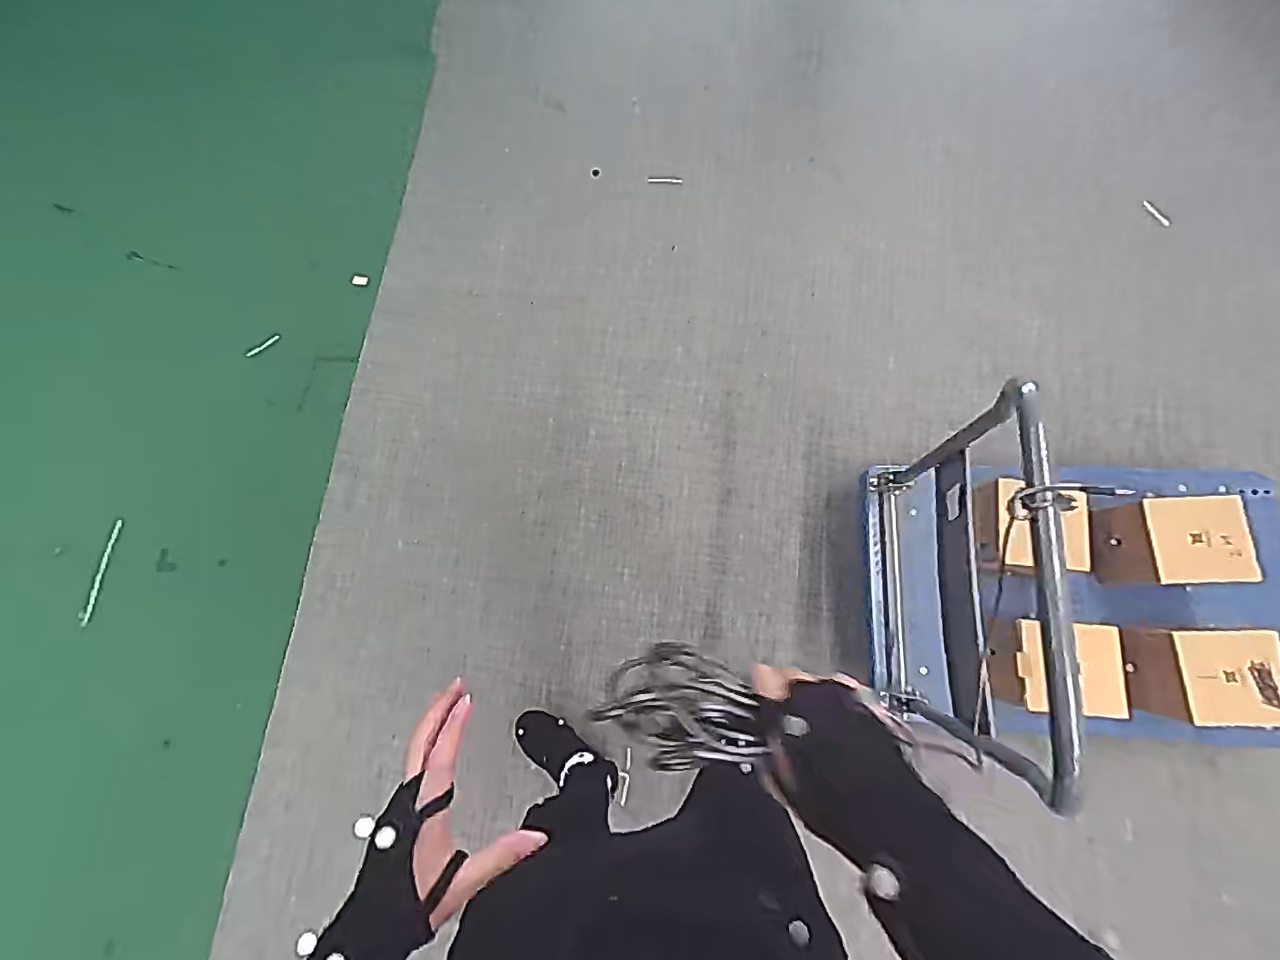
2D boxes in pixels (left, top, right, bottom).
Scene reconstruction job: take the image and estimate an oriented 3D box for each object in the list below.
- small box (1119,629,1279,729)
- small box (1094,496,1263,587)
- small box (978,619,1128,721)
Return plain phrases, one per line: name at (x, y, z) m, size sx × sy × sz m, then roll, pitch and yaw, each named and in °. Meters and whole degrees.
small box at (1.081, 0.376, 1.046) m, size 0.179 × 0.176 × 0.168 m, roll -2°, pitch 76°, yaw 7°
small box at (1.076, 0.131, 1.104) m, size 0.179 × 0.176 × 0.168 m, roll -2°, pitch 77°, yaw 6°
small box at (0.812, 0.370, 1.081) m, size 0.179 × 0.176 × 0.168 m, roll 2°, pitch 77°, yaw 8°
